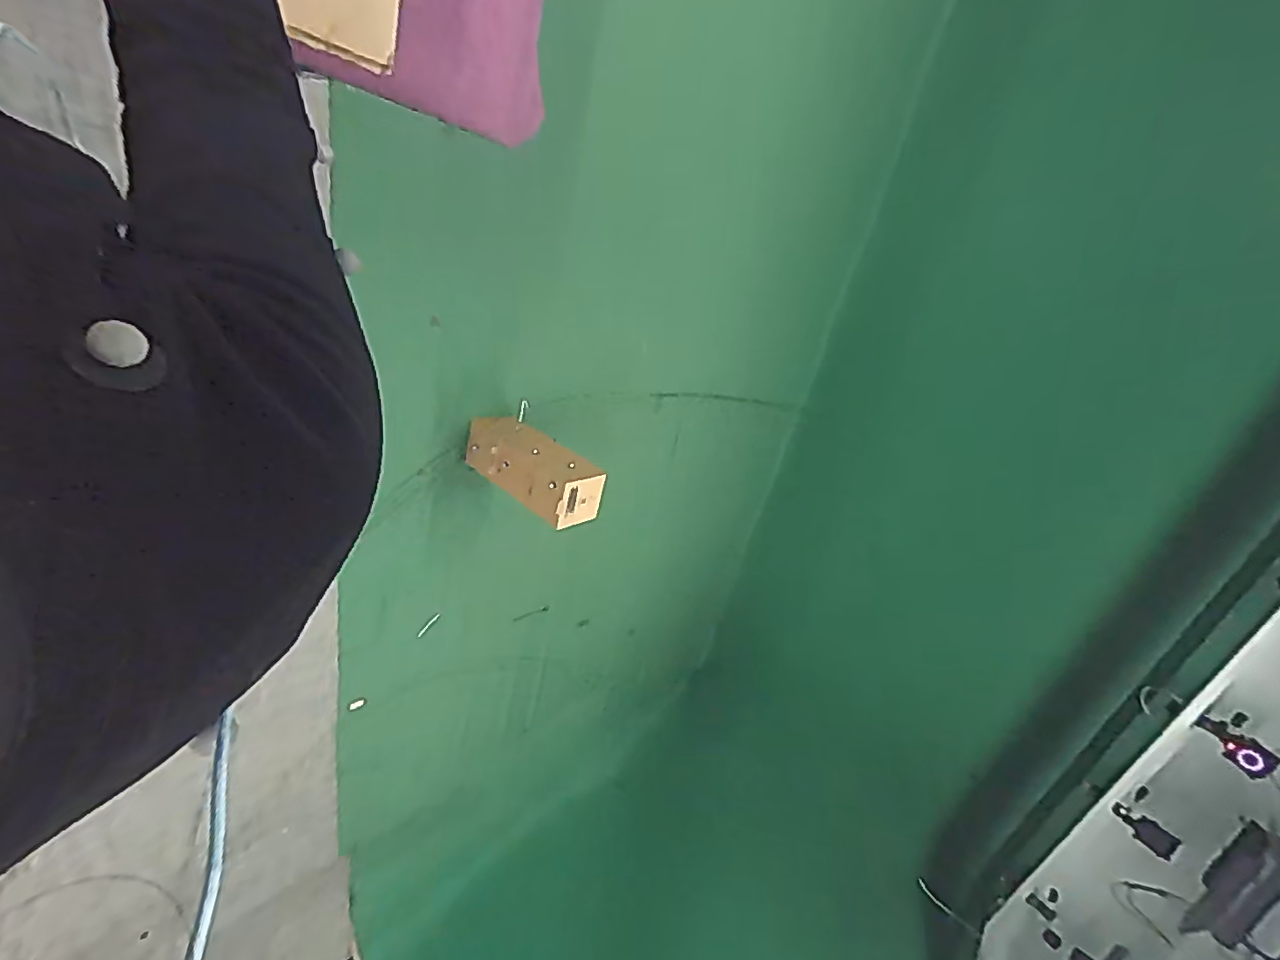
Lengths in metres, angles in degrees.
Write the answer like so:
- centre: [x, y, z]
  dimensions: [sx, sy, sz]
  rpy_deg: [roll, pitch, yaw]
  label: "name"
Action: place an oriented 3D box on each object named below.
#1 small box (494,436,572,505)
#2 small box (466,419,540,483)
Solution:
- centre: [-0.360, -0.039, 1.808]
  dimensions: [0.179, 0.176, 0.168]
  rpy_deg: [-14, 127, -48]
  label: "small box"
- centre: [-0.479, -0.108, 1.895]
  dimensions: [0.179, 0.176, 0.168]
  rpy_deg: [-13, 126, -49]
  label: "small box"
